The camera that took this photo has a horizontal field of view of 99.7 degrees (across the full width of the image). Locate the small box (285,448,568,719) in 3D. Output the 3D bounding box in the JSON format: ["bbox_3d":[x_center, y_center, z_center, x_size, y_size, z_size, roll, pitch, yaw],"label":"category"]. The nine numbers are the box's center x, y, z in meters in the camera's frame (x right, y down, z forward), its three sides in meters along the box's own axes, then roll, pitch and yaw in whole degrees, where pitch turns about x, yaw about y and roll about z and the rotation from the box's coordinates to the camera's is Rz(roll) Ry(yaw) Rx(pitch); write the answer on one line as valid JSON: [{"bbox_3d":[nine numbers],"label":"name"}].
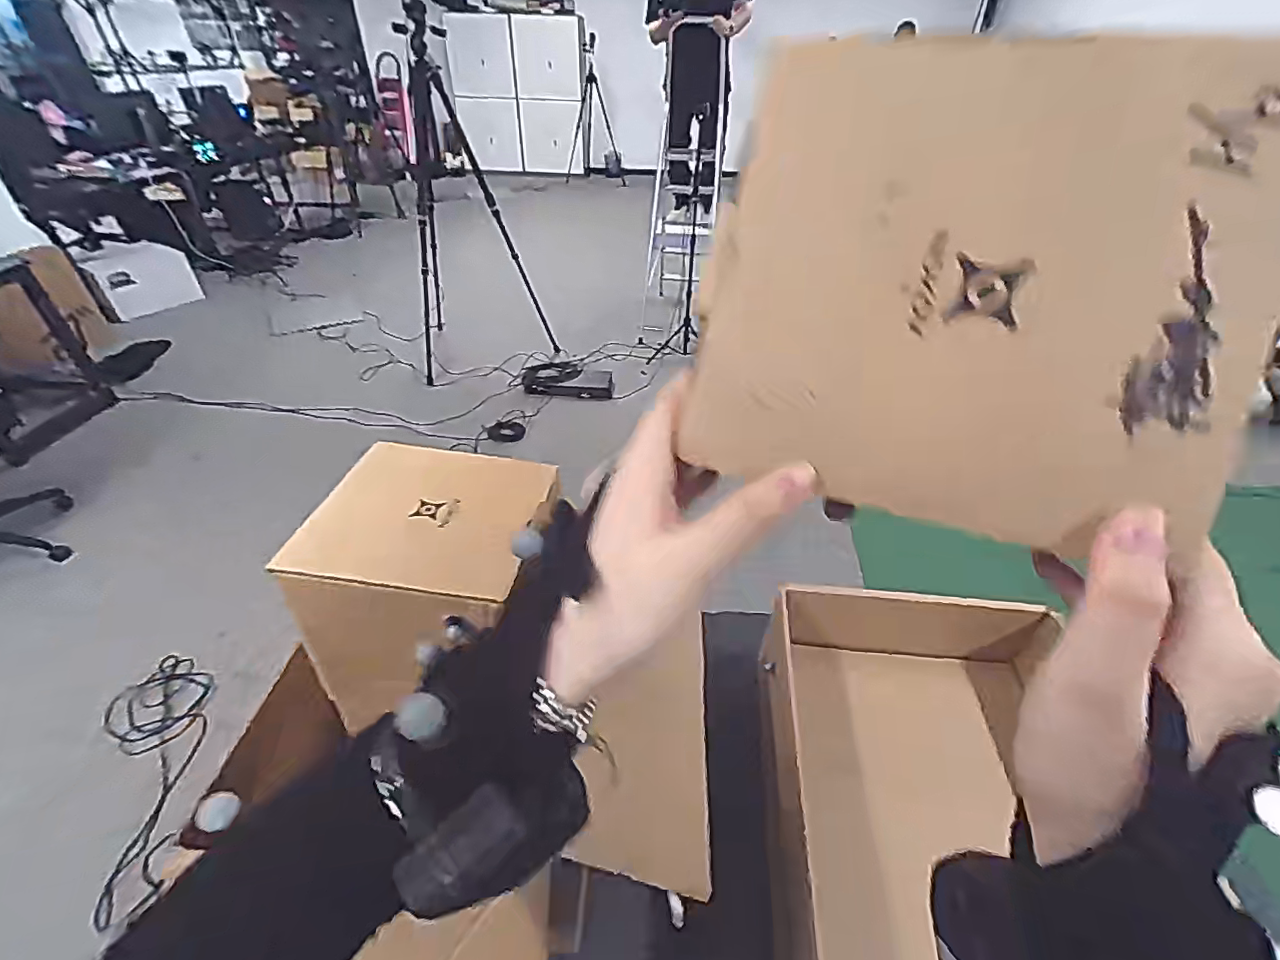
[{"bbox_3d":[-0.169,0.093,0.492,0.179,0.176,0.168,8,38,1],"label":"small box"}]
